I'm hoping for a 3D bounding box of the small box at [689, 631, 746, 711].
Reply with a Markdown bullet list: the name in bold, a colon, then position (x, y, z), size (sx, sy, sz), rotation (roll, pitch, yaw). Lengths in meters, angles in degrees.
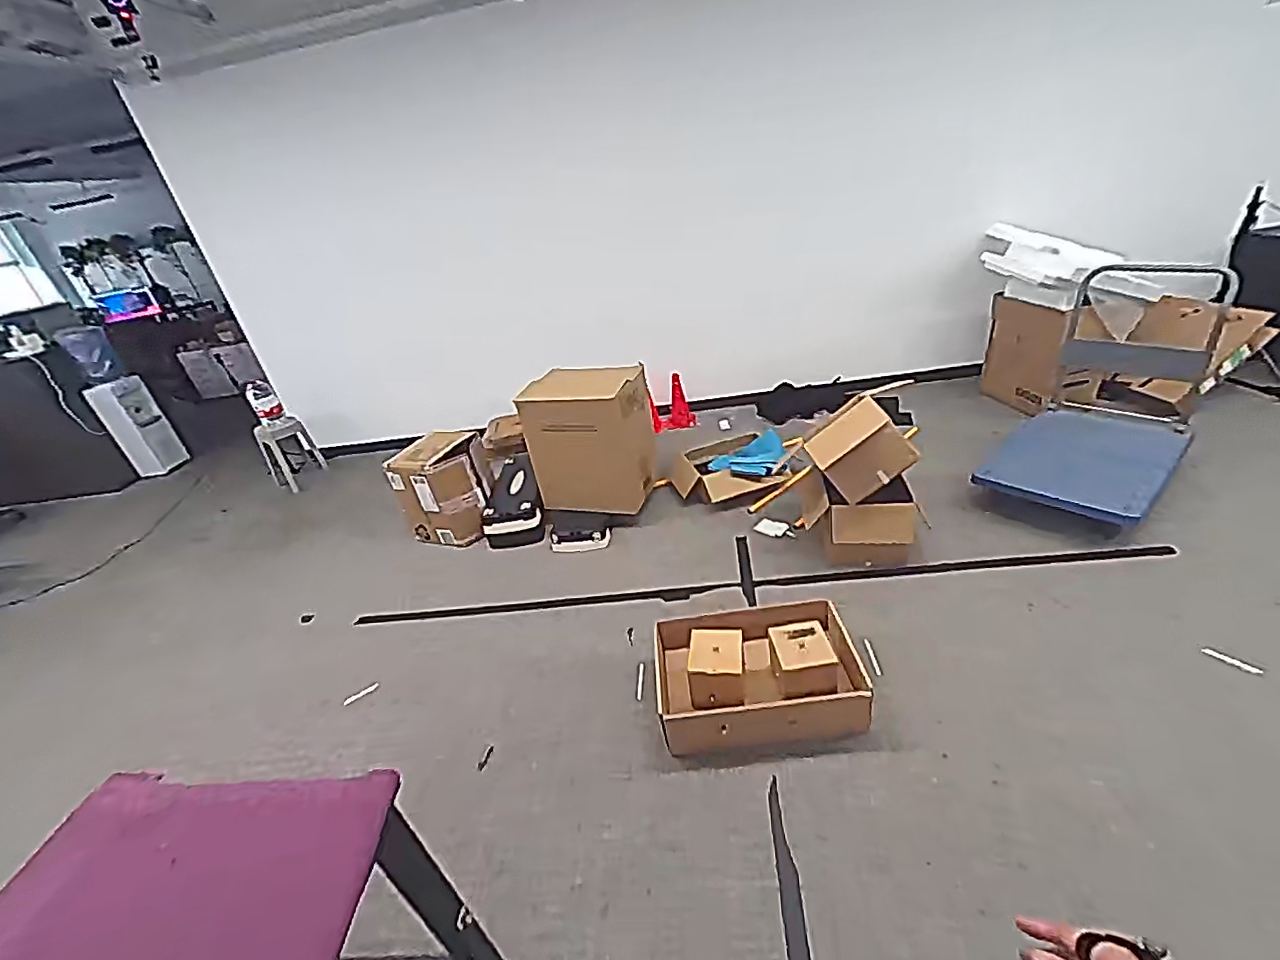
- **small box**: position (0.252, 0.610, 1.735), size (0.168, 0.176, 0.179), rotation (-2, 30, 12)
